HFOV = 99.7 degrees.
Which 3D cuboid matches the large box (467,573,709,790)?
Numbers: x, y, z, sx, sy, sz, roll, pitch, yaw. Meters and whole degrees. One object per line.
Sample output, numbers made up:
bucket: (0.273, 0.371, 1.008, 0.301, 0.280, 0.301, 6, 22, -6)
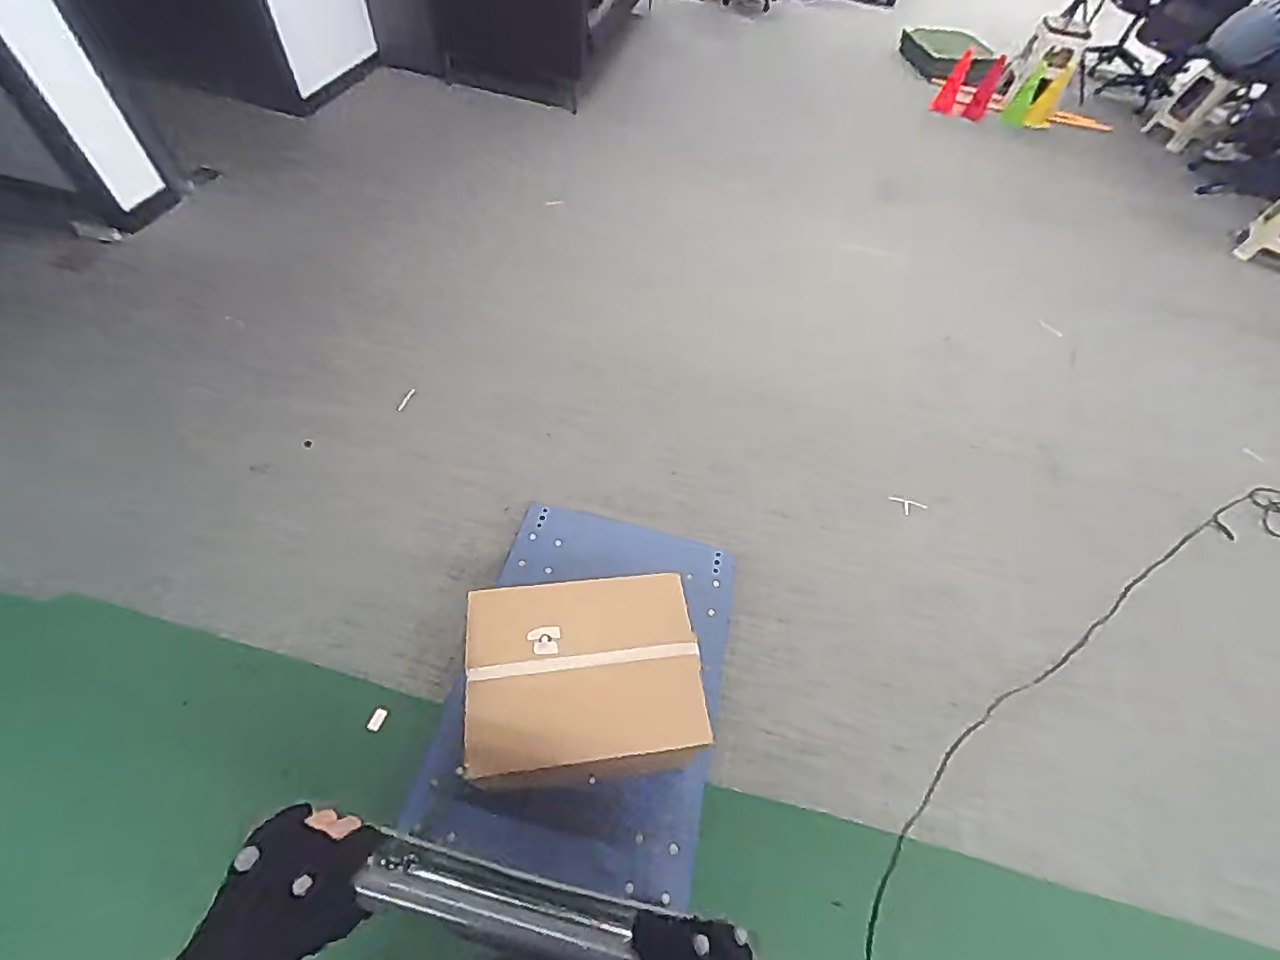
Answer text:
large box: (-0.110, 0.408, 1.082, 0.408, 0.320, 0.320, -4, 56, -8)
